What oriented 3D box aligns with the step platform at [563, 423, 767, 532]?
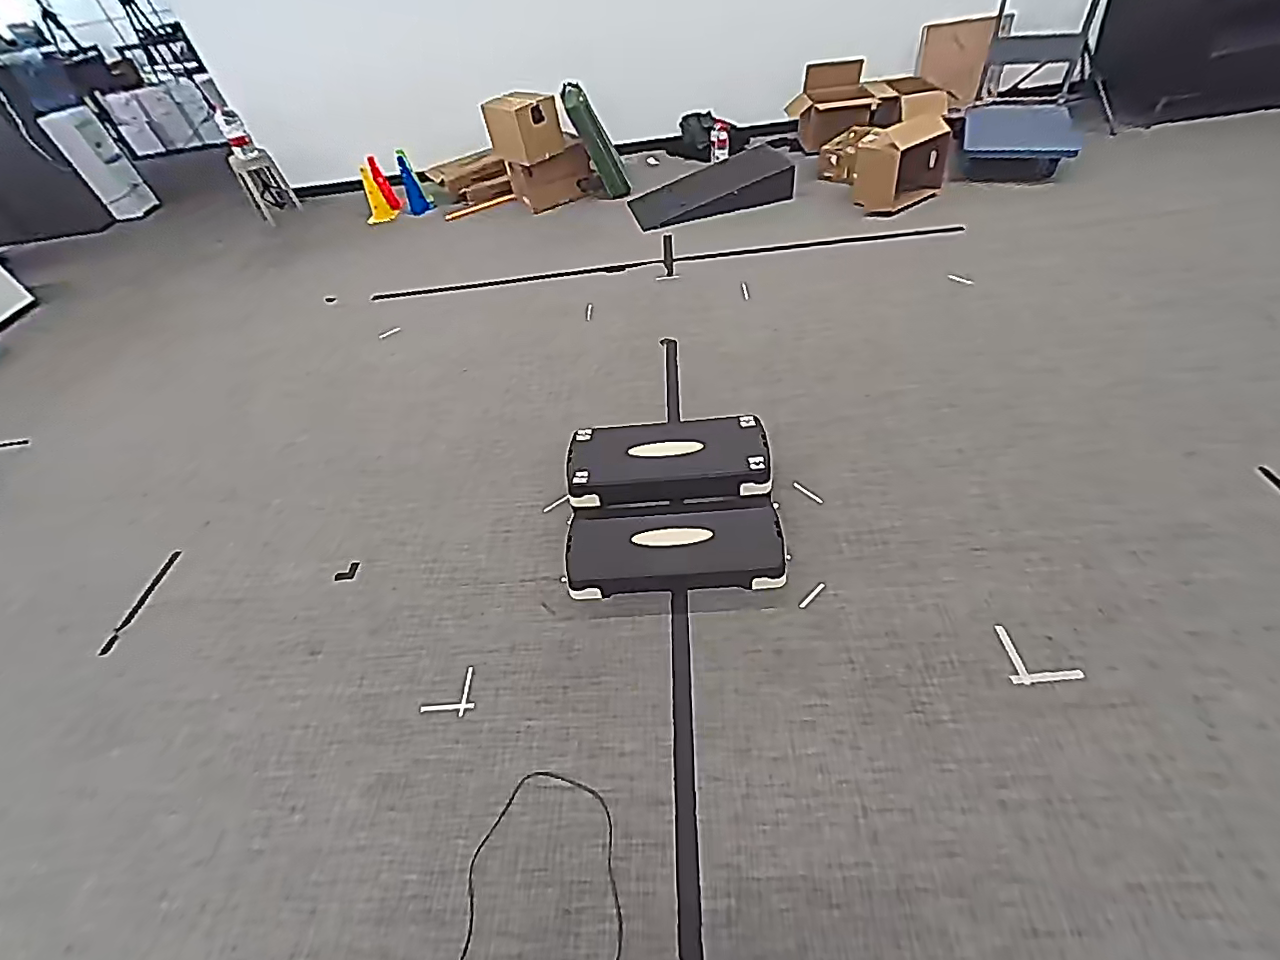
[{"bbox_3d":[0.082,-0.013,1.836,0.684,0.204,0.286,-4,48,4],"label":"step platform"}]
